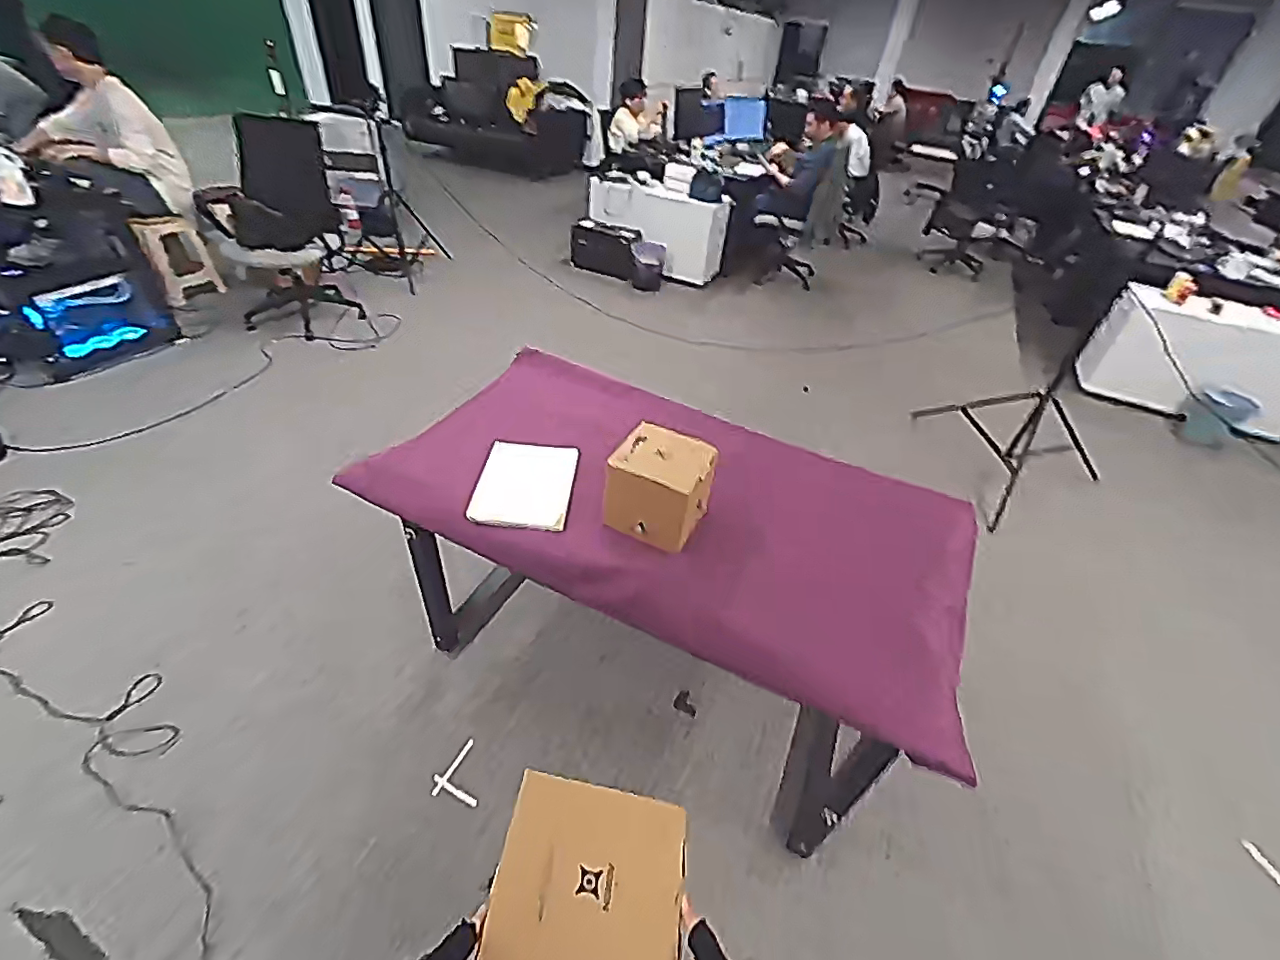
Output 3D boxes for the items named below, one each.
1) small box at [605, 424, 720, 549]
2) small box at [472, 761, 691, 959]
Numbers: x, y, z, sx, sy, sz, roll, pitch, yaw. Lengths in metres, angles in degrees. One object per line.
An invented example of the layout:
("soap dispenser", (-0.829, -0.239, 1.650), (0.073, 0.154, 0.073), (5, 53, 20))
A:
("small box", (0.042, 0.016, 1.113), (0.179, 0.176, 0.168), (22, 41, 17))
("small box", (-0.059, 0.417, 0.542), (0.179, 0.176, 0.168), (15, 37, -5))
